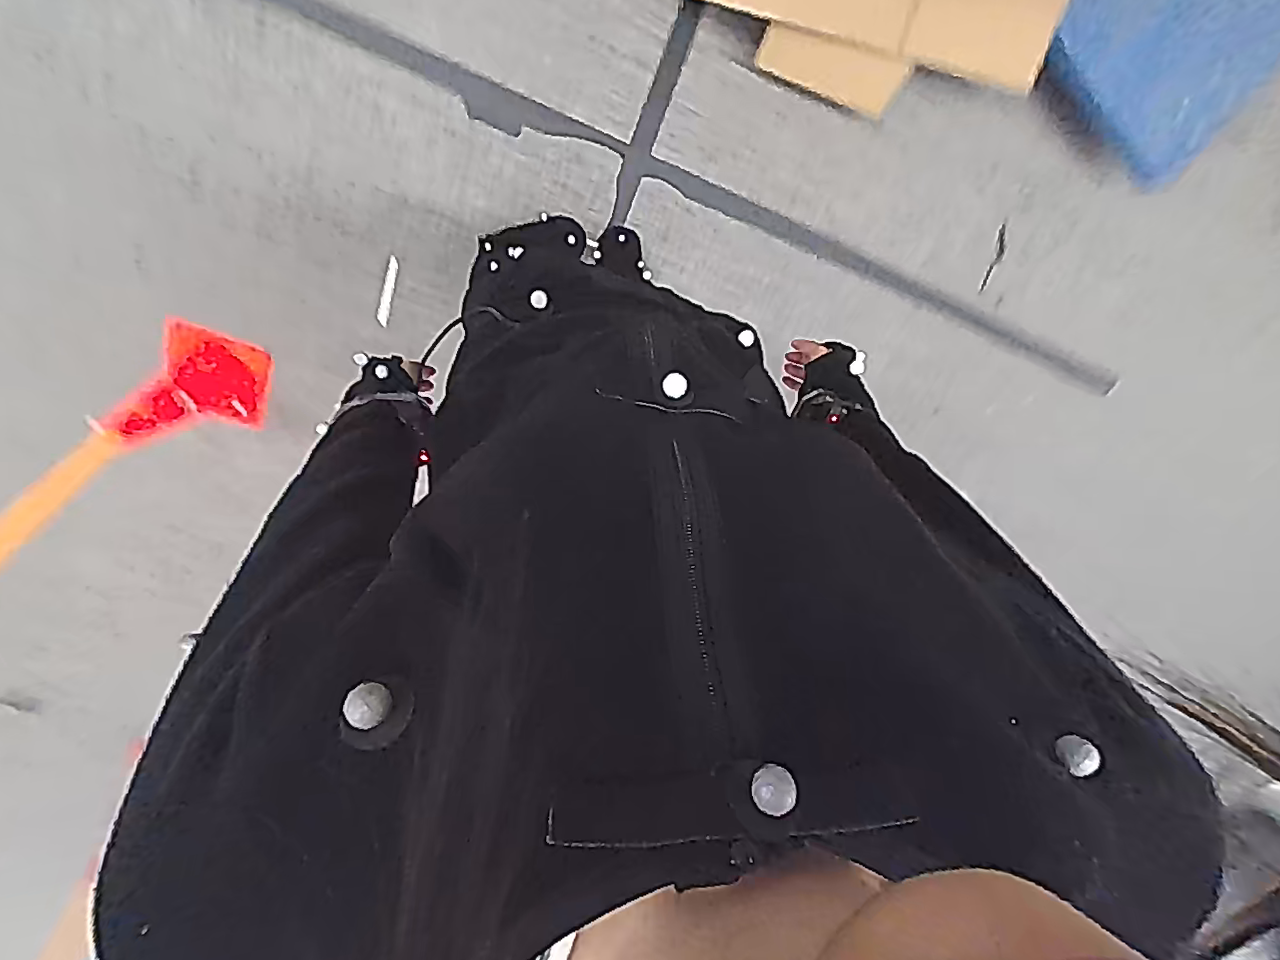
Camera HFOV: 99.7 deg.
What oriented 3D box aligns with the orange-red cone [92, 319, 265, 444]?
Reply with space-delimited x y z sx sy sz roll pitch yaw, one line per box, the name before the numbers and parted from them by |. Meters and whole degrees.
orange-red cone | -0.943 -0.162 1.072 0.198 0.360 0.199 21 112 -20
